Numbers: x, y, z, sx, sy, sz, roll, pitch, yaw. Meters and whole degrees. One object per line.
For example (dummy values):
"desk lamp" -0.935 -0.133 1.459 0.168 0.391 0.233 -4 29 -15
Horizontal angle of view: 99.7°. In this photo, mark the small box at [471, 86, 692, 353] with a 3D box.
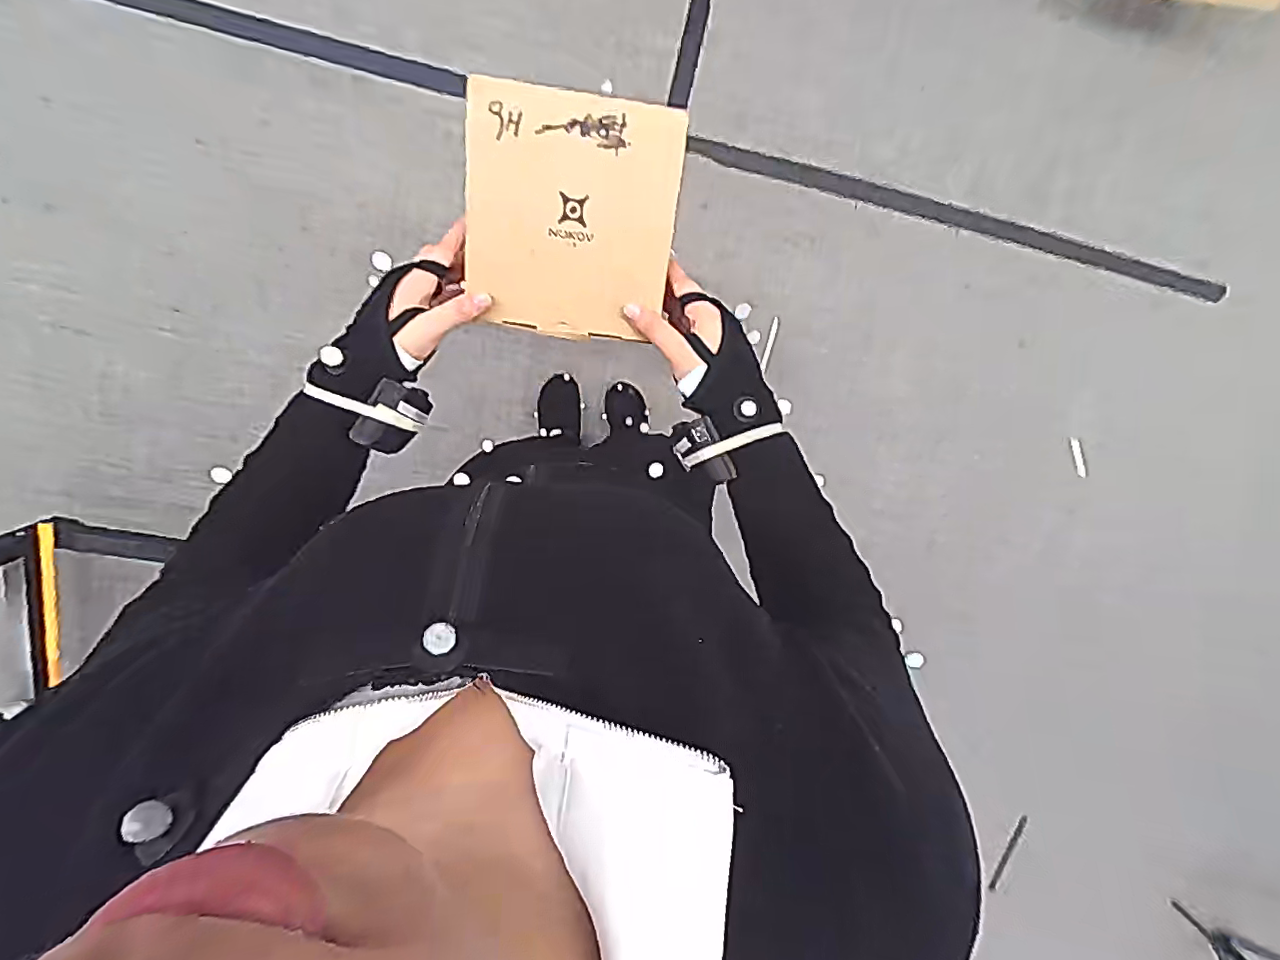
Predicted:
"small box" -0.055 -0.232 0.505 0.168 0.176 0.179 6 114 -6
